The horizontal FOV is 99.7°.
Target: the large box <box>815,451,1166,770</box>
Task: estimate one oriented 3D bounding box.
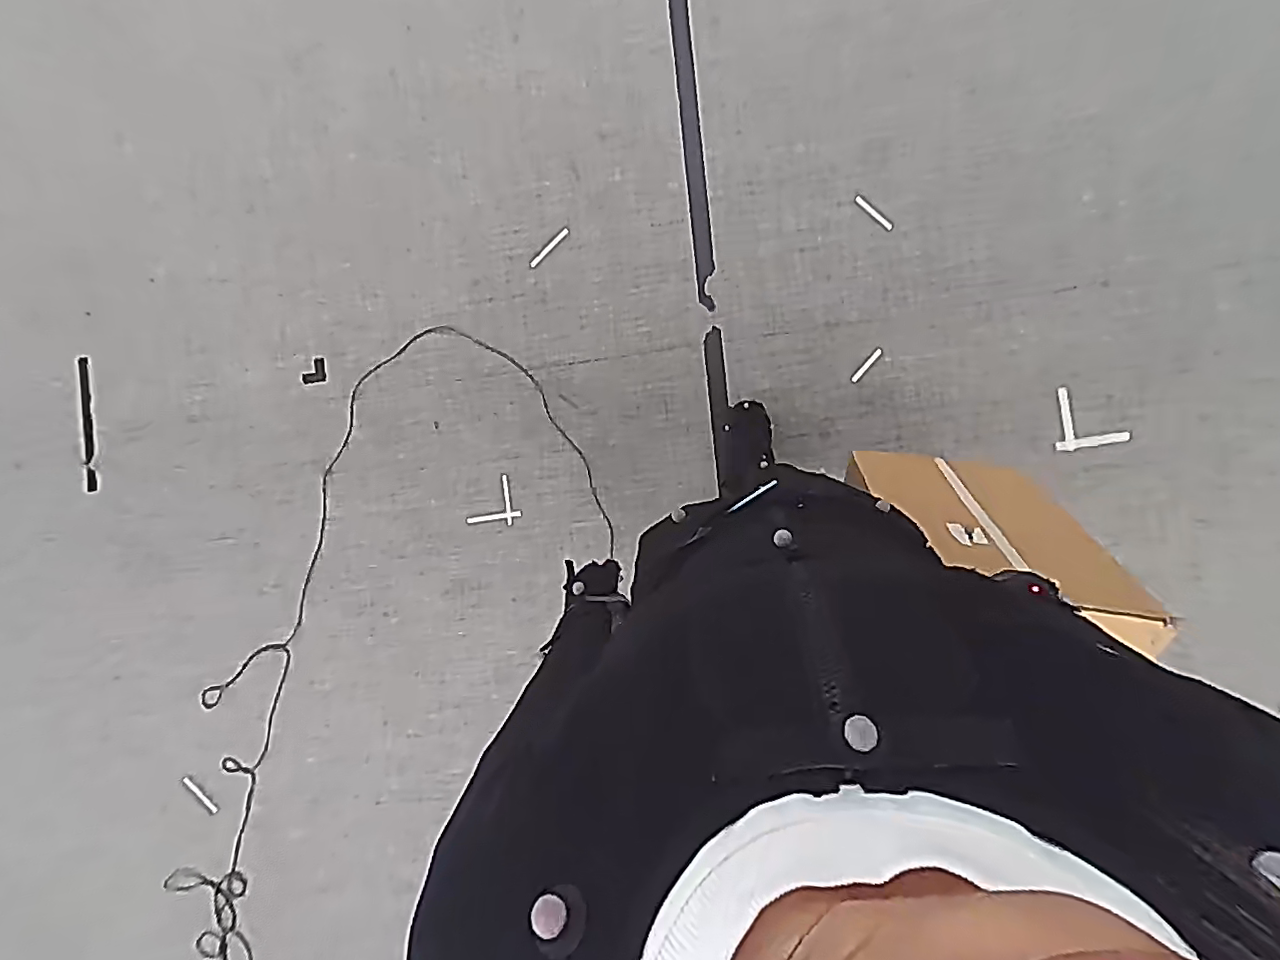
[{"bbox_3d":[0.507,0.190,0.912,0.320,0.408,0.320,7,121,7],"label":"large box"}]
